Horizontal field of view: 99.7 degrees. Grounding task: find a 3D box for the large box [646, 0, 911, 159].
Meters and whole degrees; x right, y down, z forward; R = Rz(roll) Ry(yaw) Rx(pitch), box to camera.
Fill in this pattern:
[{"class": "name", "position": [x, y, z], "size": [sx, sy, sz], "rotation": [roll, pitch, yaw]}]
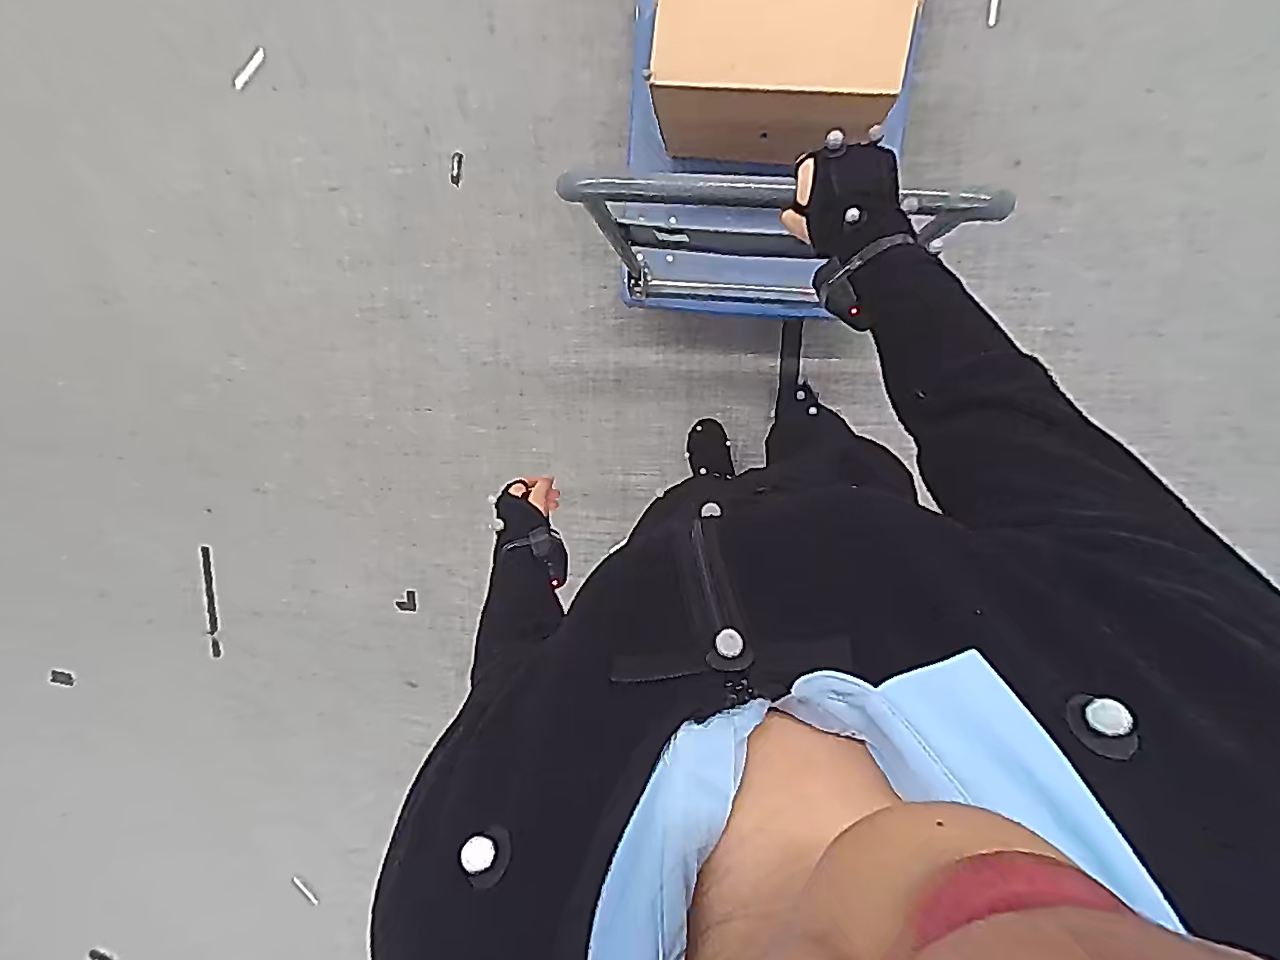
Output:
[{"class": "large box", "position": [0.243, -0.811, 0.980], "size": [0.408, 0.320, 0.320], "rotation": [8, 100, 8]}]
